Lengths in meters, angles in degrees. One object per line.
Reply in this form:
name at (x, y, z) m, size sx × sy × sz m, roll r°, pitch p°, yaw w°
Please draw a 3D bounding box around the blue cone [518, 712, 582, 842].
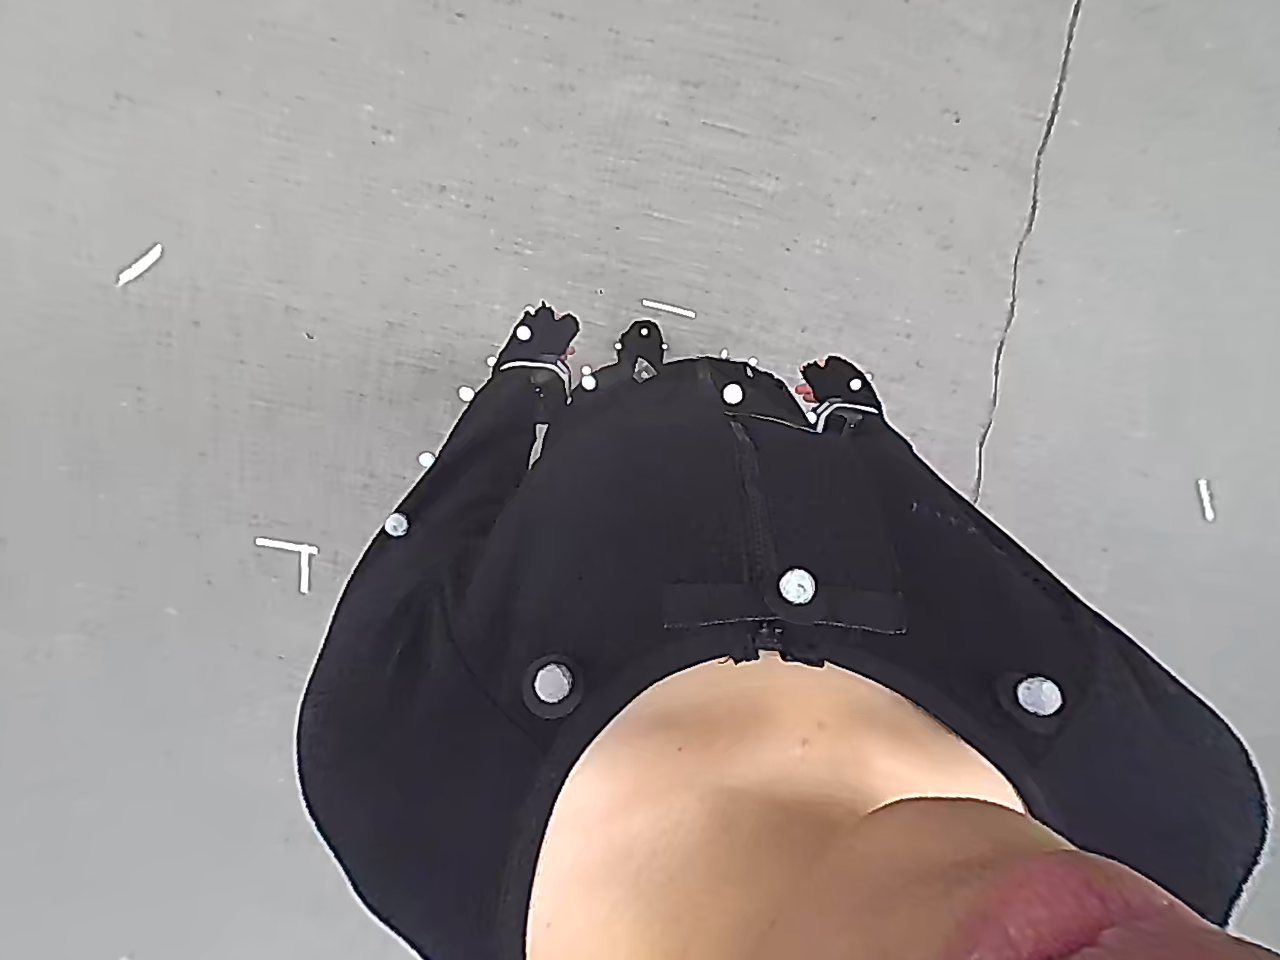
blue cone at (-0.290, 0.882, 1.588) m, size 0.192 × 0.380 × 0.193 m, roll 9°, pitch 106°, yaw -2°
